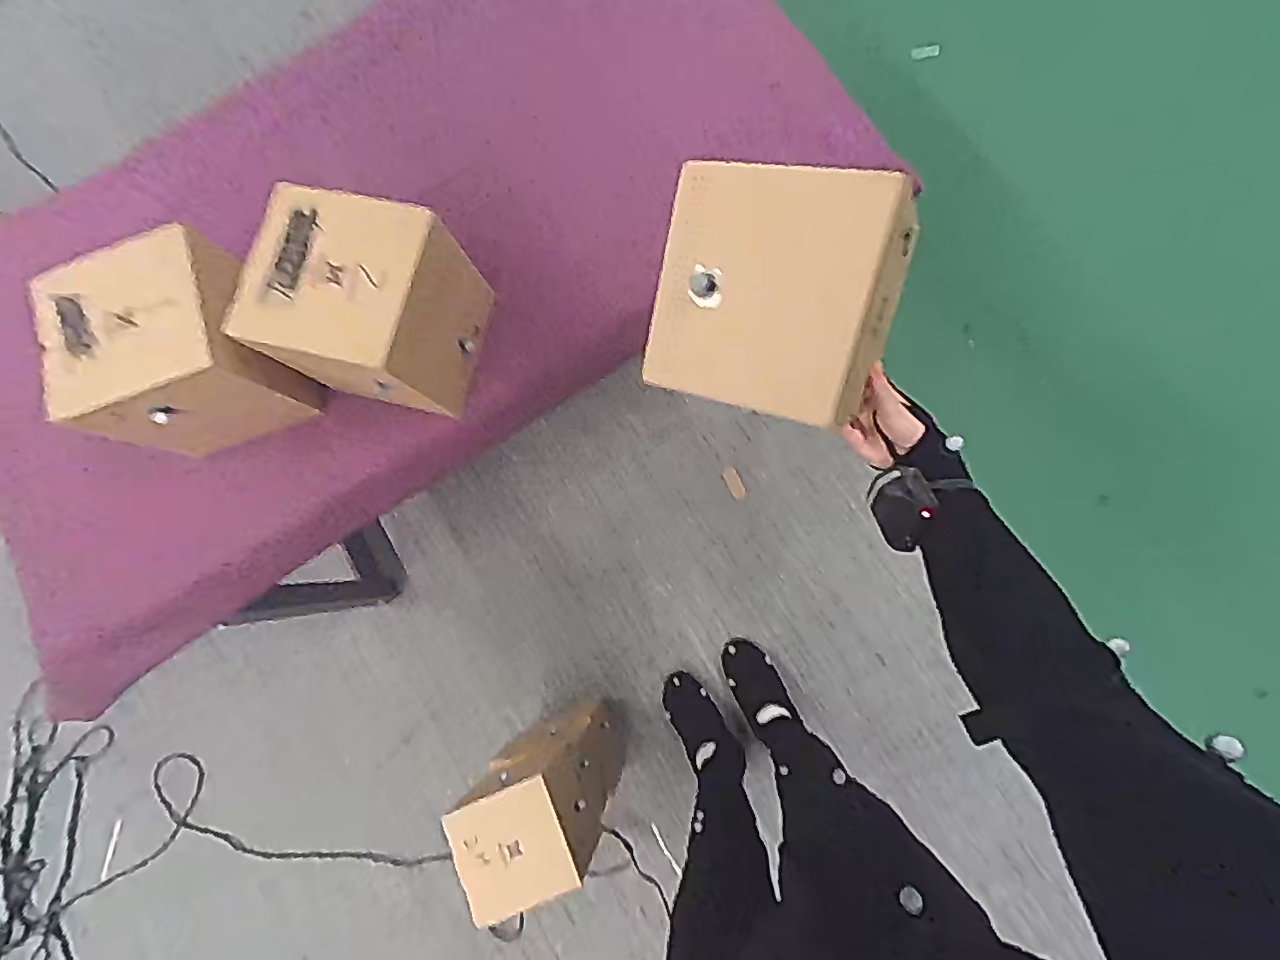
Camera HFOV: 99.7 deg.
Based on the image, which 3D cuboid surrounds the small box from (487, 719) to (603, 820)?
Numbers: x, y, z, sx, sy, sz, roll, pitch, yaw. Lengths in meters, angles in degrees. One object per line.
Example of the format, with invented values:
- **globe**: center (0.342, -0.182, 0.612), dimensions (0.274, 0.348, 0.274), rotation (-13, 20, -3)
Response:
- **small box**: center (-0.176, 0.587, 1.046), dimensions (0.168, 0.176, 0.179), rotation (-12, 80, 5)

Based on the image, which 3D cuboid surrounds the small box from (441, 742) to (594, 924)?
- **small box**: center (-0.186, 0.558, 0.883), dimensions (0.179, 0.176, 0.168), rotation (-24, 79, 3)

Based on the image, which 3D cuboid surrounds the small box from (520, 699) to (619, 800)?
- **small box**: center (-0.153, 0.605, 1.204), dimensions (0.168, 0.176, 0.179), rotation (-17, 81, 4)
